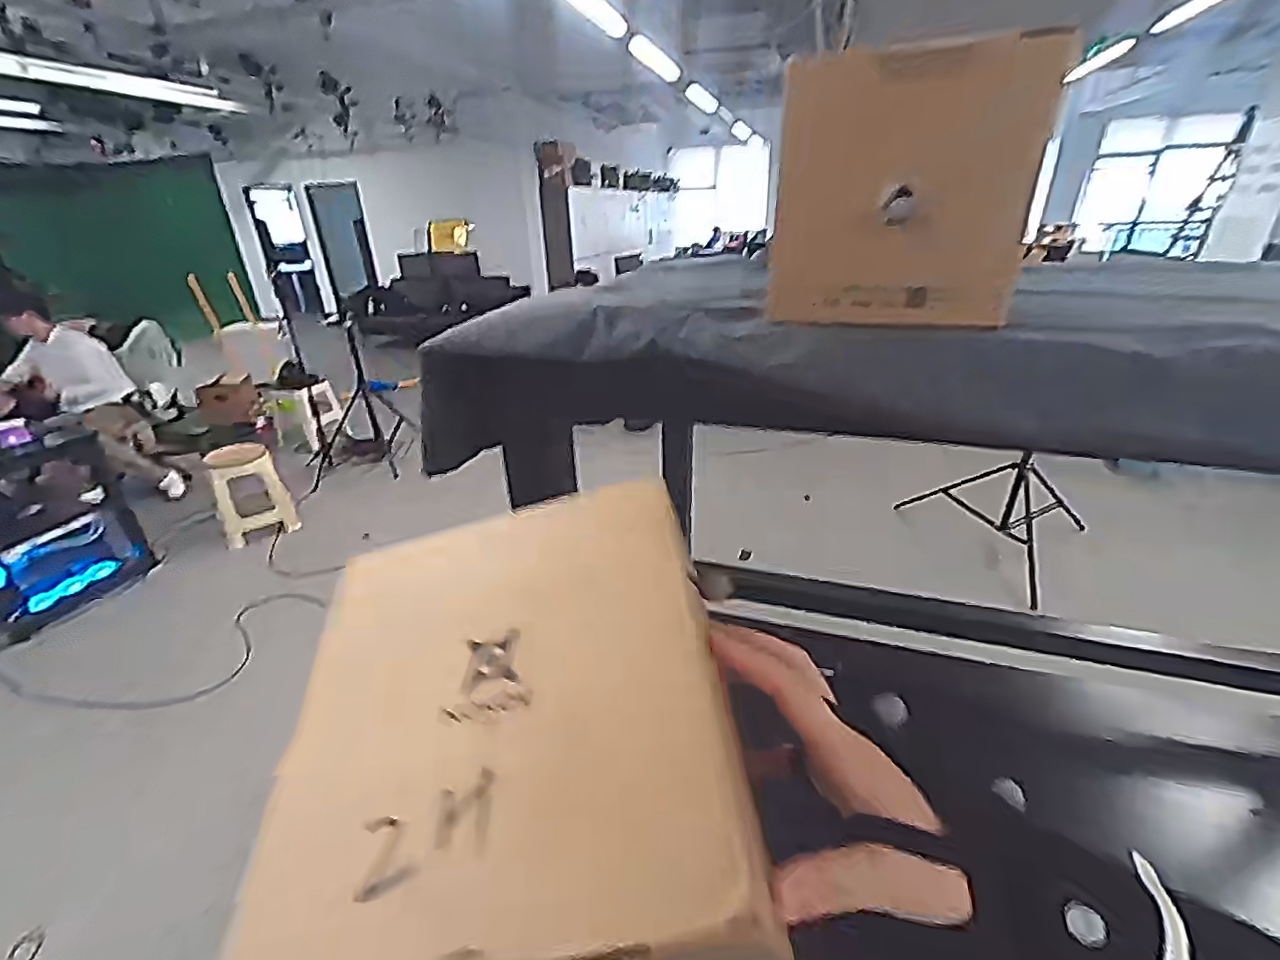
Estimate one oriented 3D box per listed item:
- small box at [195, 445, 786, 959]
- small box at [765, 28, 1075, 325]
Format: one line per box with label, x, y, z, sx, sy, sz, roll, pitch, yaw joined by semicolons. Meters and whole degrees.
small box;-0.038;0.117;0.258;0.168;0.176;0.179;-16;45;5
small box;0.192;-0.222;0.431;0.168;0.176;0.179;5;26;13
